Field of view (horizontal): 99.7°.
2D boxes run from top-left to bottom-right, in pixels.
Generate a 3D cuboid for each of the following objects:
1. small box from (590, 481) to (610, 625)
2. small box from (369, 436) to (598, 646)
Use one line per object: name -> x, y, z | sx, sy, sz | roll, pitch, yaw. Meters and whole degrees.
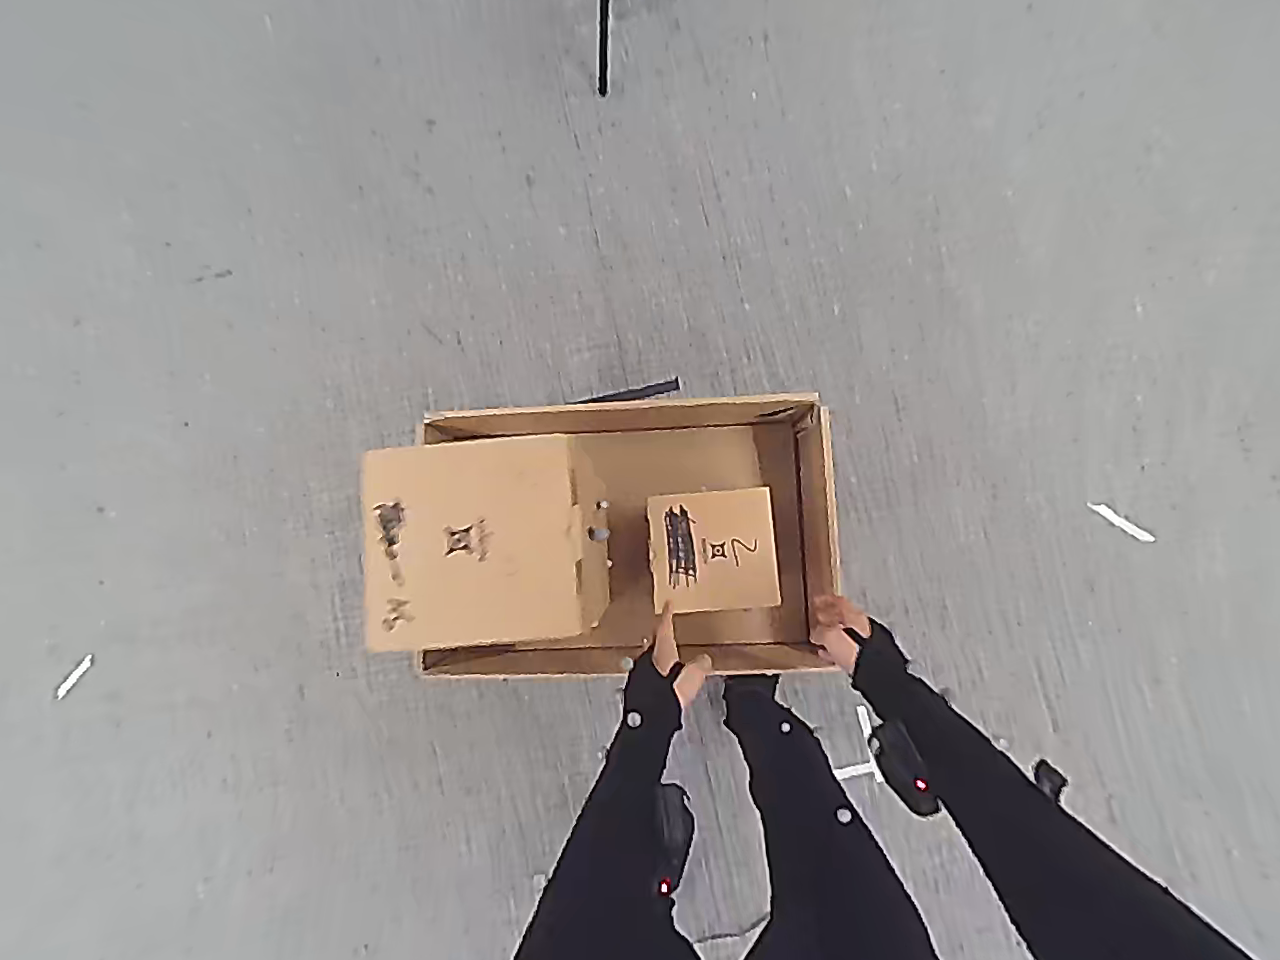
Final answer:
small box -> -0.129, 0.085, 0.683 | 0.168, 0.176, 0.179 | -3, 83, 1
small box -> -0.134, 0.057, 0.521 | 0.179, 0.176, 0.168 | -4, 83, 0
